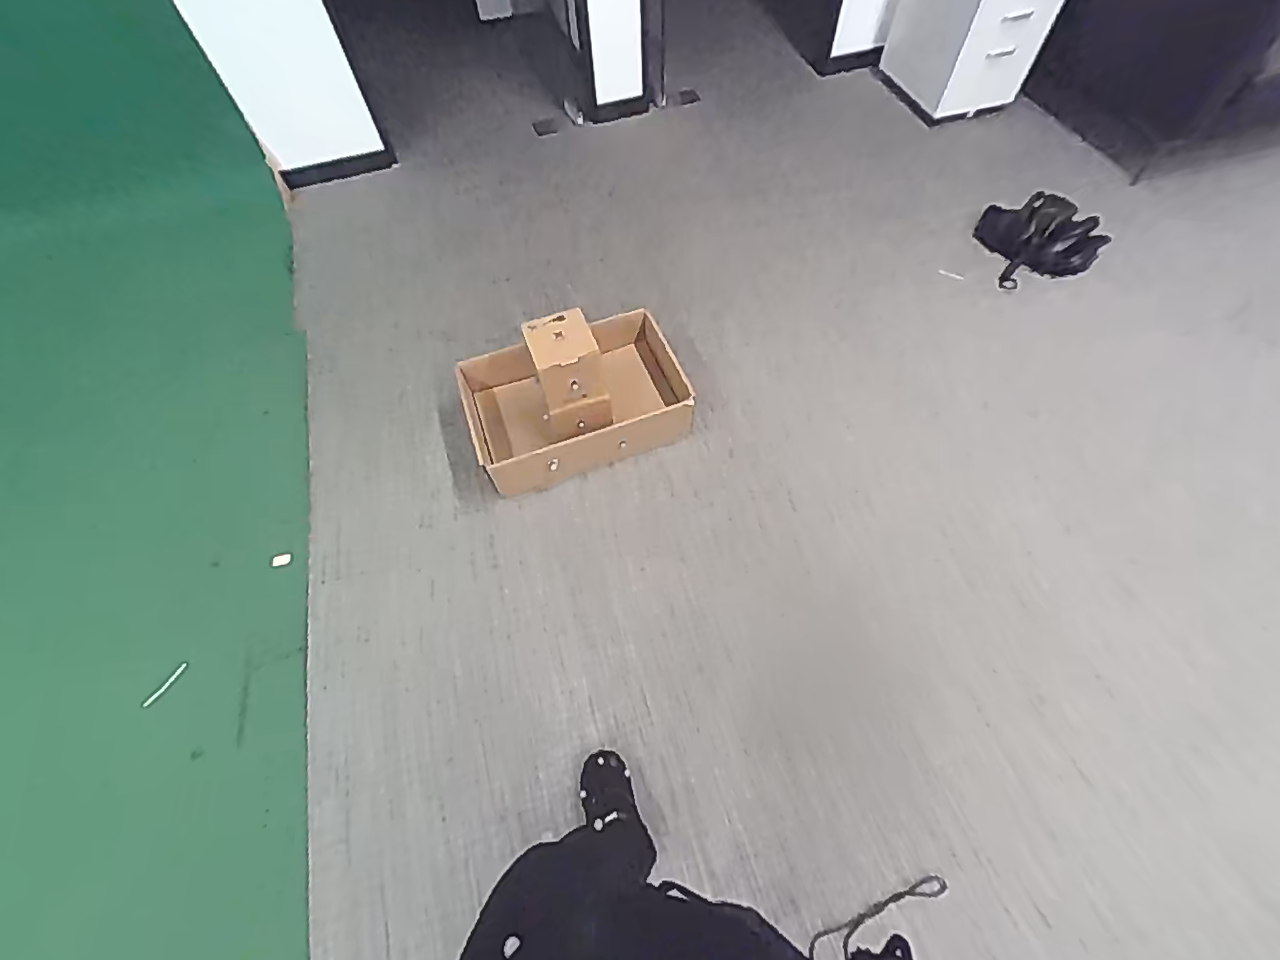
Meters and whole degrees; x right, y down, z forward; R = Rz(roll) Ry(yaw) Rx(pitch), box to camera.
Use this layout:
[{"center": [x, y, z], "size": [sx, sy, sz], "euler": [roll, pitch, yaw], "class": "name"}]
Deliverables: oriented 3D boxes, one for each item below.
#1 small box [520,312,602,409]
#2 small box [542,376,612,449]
[{"center": [-0.207, -0.313, 1.453], "size": [0.168, 0.176, 0.179], "euler": [-19, 61, -8], "class": "small box"}, {"center": [-0.188, -0.218, 1.585], "size": [0.179, 0.176, 0.168], "euler": [-19, 60, -10], "class": "small box"}]
